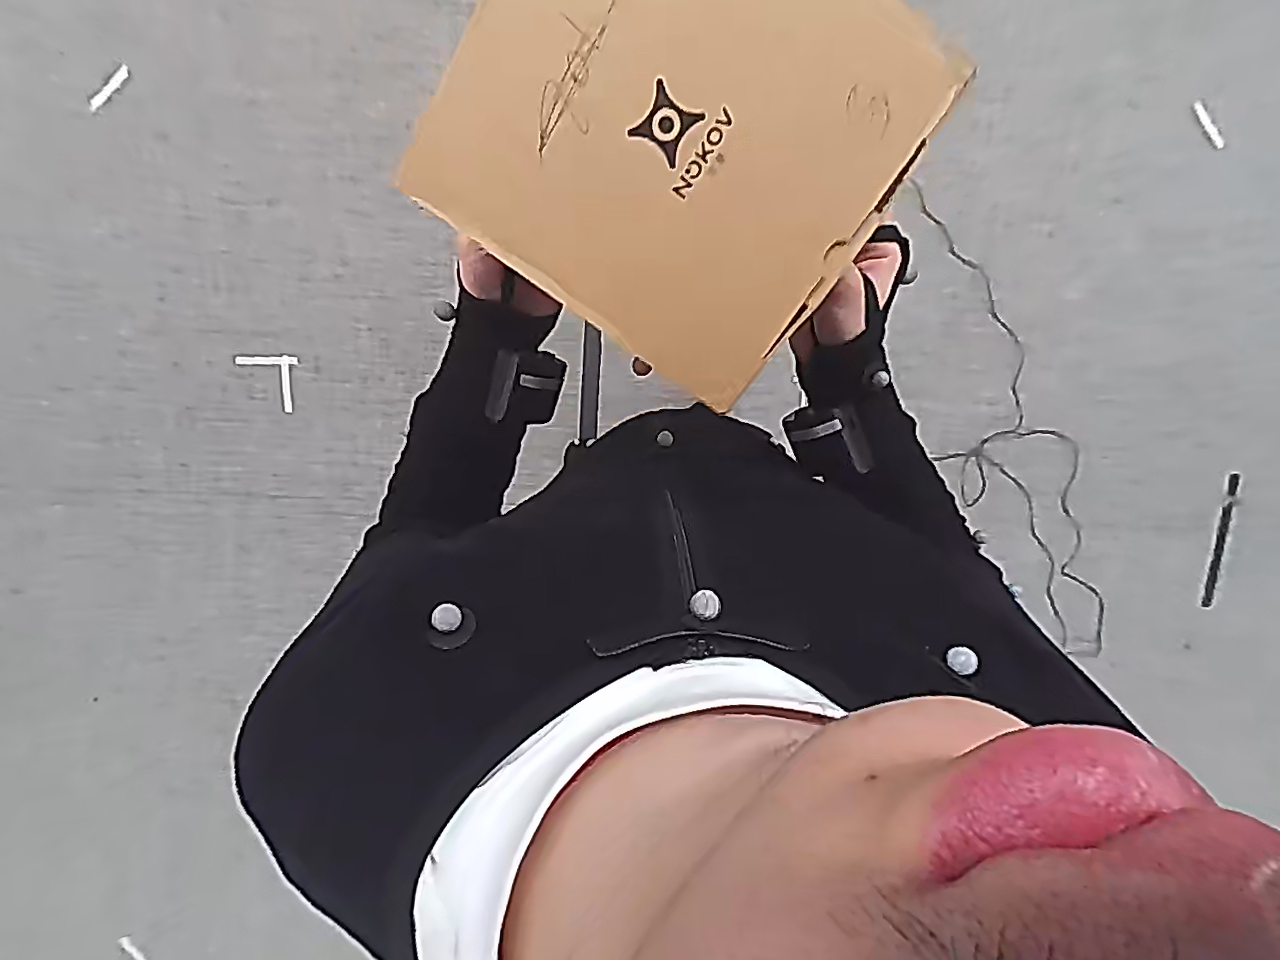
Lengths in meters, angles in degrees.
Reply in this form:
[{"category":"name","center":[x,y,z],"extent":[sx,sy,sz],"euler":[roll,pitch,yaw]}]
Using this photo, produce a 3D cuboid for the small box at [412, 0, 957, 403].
[{"category":"small box","center":[0.018,-0.169,0.304],"extent":[0.179,0.176,0.168],"euler":[33,105,-7]}]
